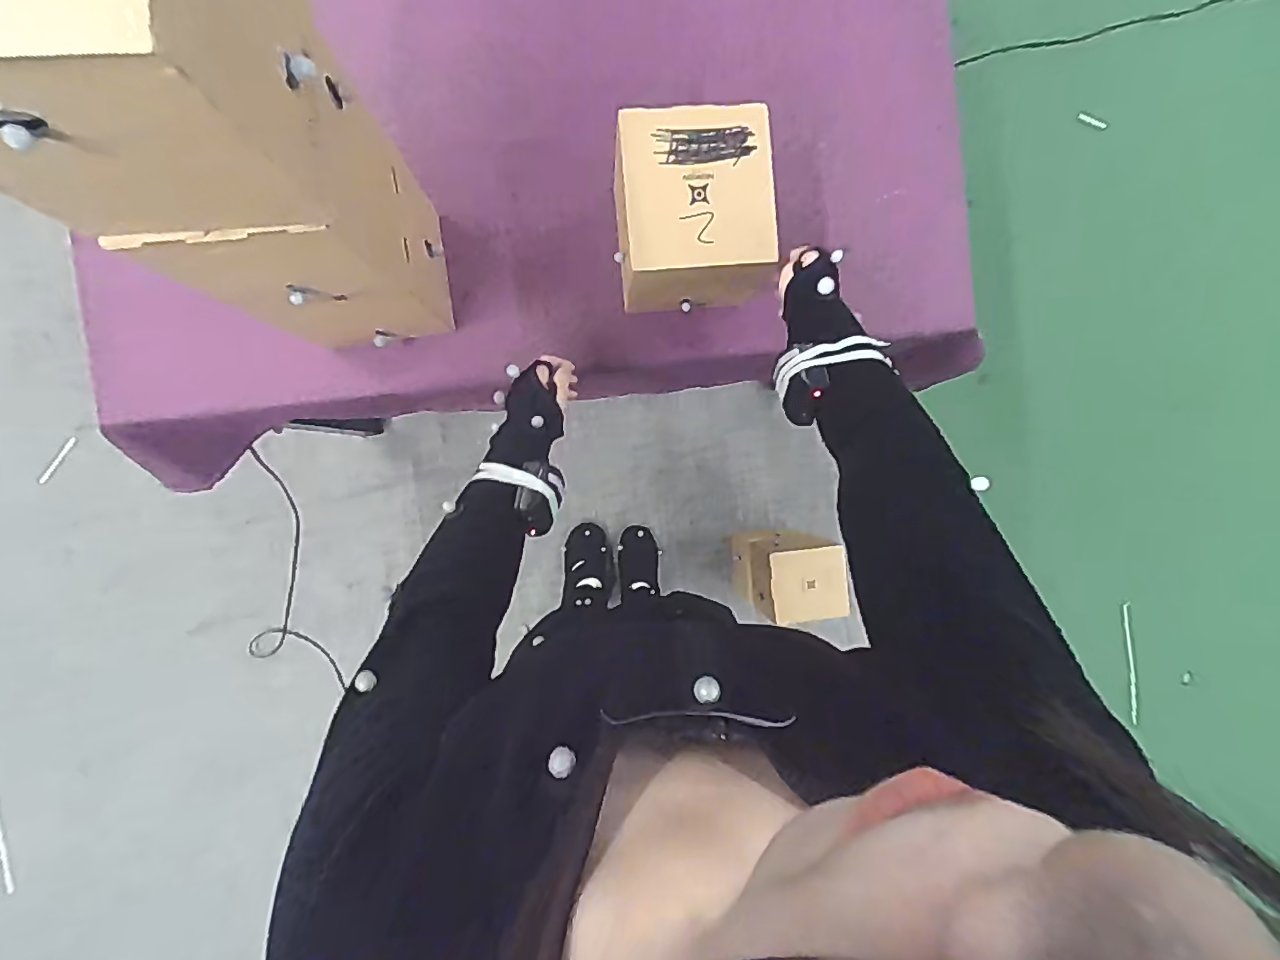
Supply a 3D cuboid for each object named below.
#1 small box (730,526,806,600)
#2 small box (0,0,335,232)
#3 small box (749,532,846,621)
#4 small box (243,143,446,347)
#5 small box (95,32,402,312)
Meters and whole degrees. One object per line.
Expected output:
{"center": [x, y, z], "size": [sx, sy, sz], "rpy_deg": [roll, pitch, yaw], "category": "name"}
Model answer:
{"center": [0.343, 0.216, 1.447], "size": [0.179, 0.176, 0.168], "rpy_deg": [-3, 92, -5], "category": "small box"}
{"center": [-0.313, -0.262, 0.315], "size": [0.179, 0.176, 0.168], "rpy_deg": [-6, 92, -5], "category": "small box"}
{"center": [0.365, 0.223, 1.285], "size": [0.179, 0.176, 0.168], "rpy_deg": [-6, 94, -5], "category": "small box"}
{"center": [-0.343, -0.265, 0.644], "size": [0.179, 0.176, 0.168], "rpy_deg": [-9, 92, -5], "category": "small box"}
{"center": [-0.331, -0.265, 0.479], "size": [0.168, 0.176, 0.179], "rpy_deg": [-7, 93, -4], "category": "small box"}
